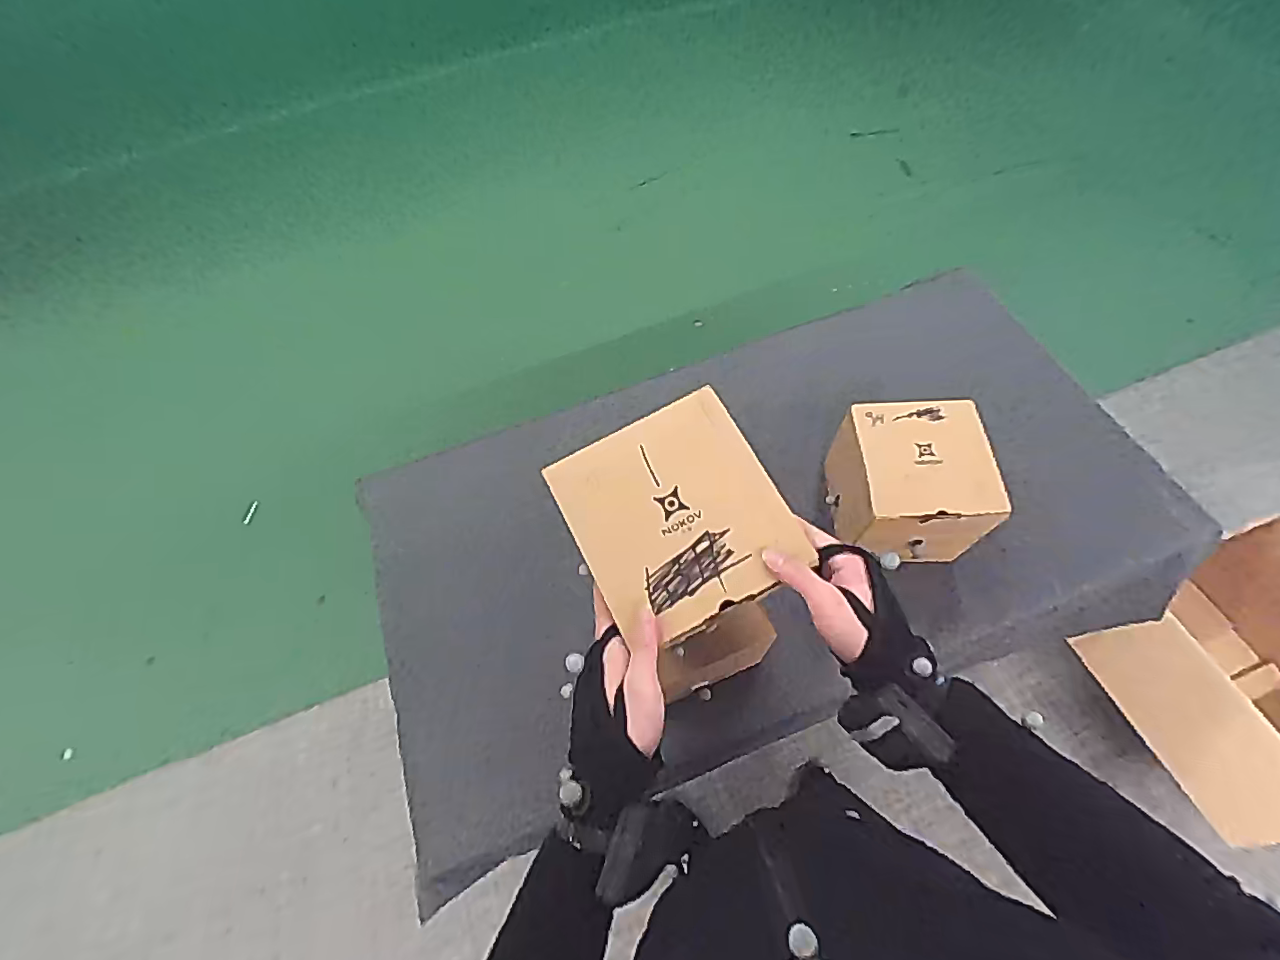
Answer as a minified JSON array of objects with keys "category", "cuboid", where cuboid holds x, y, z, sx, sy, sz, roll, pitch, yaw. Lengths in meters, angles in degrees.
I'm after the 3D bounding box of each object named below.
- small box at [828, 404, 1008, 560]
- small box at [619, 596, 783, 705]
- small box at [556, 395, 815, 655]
[{"category":"small box","cuboid":[0.381,0.011,0.777,0.168,0.176,0.179,-1,62,4]},{"category":"small box","cuboid":[0.059,0.168,0.700,0.168,0.176,0.179,-22,62,-7]},{"category":"small box","cuboid":[0.040,0.054,0.530,0.168,0.176,0.179,-26,72,-5]}]
